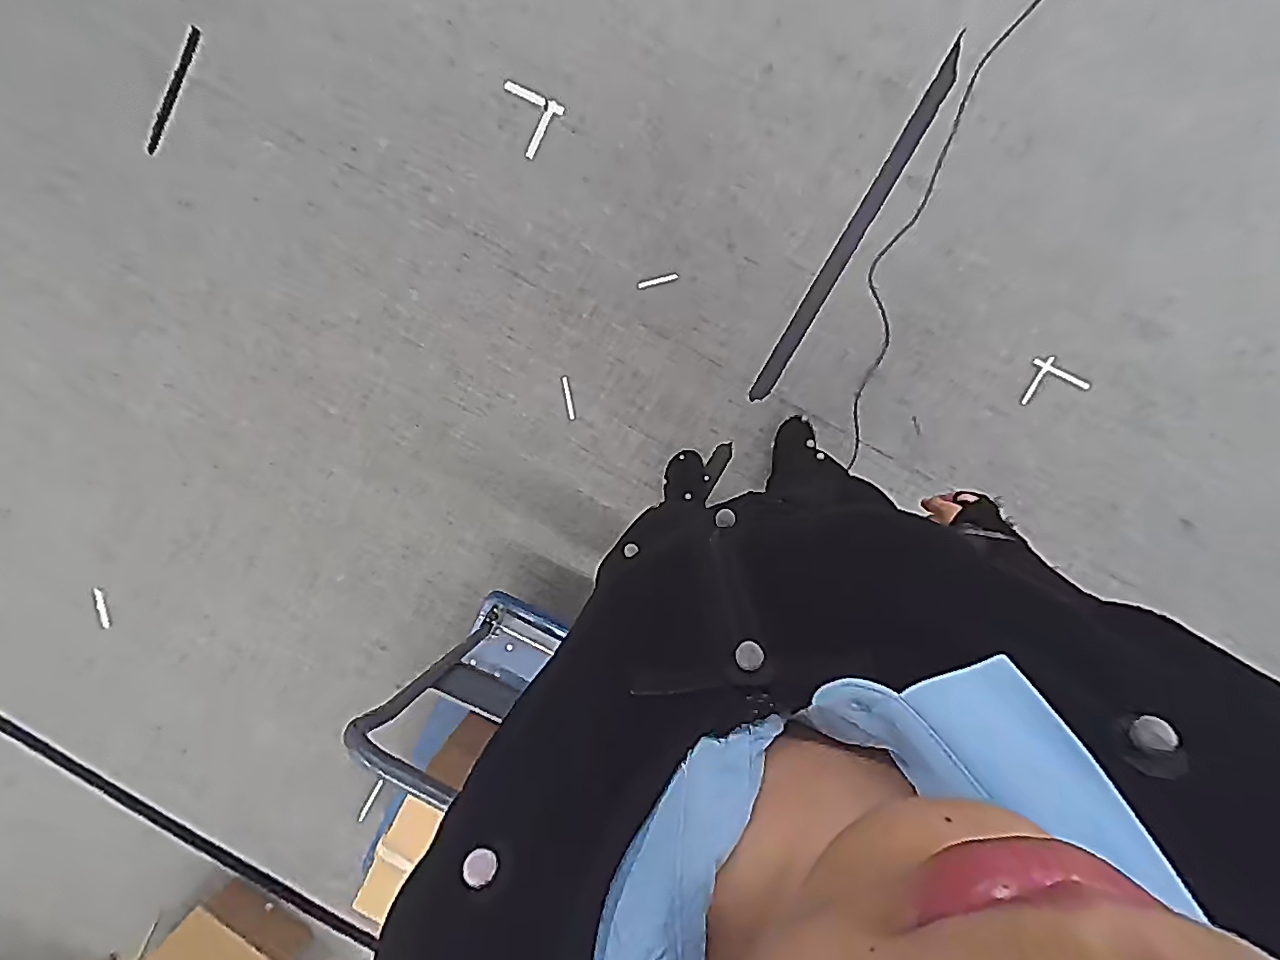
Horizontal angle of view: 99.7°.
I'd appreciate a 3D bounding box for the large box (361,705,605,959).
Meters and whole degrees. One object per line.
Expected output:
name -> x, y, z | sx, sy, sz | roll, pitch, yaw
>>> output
large box -> -0.339, 0.808, 1.268 | 0.408, 0.320, 0.320 | 27, 96, 1
